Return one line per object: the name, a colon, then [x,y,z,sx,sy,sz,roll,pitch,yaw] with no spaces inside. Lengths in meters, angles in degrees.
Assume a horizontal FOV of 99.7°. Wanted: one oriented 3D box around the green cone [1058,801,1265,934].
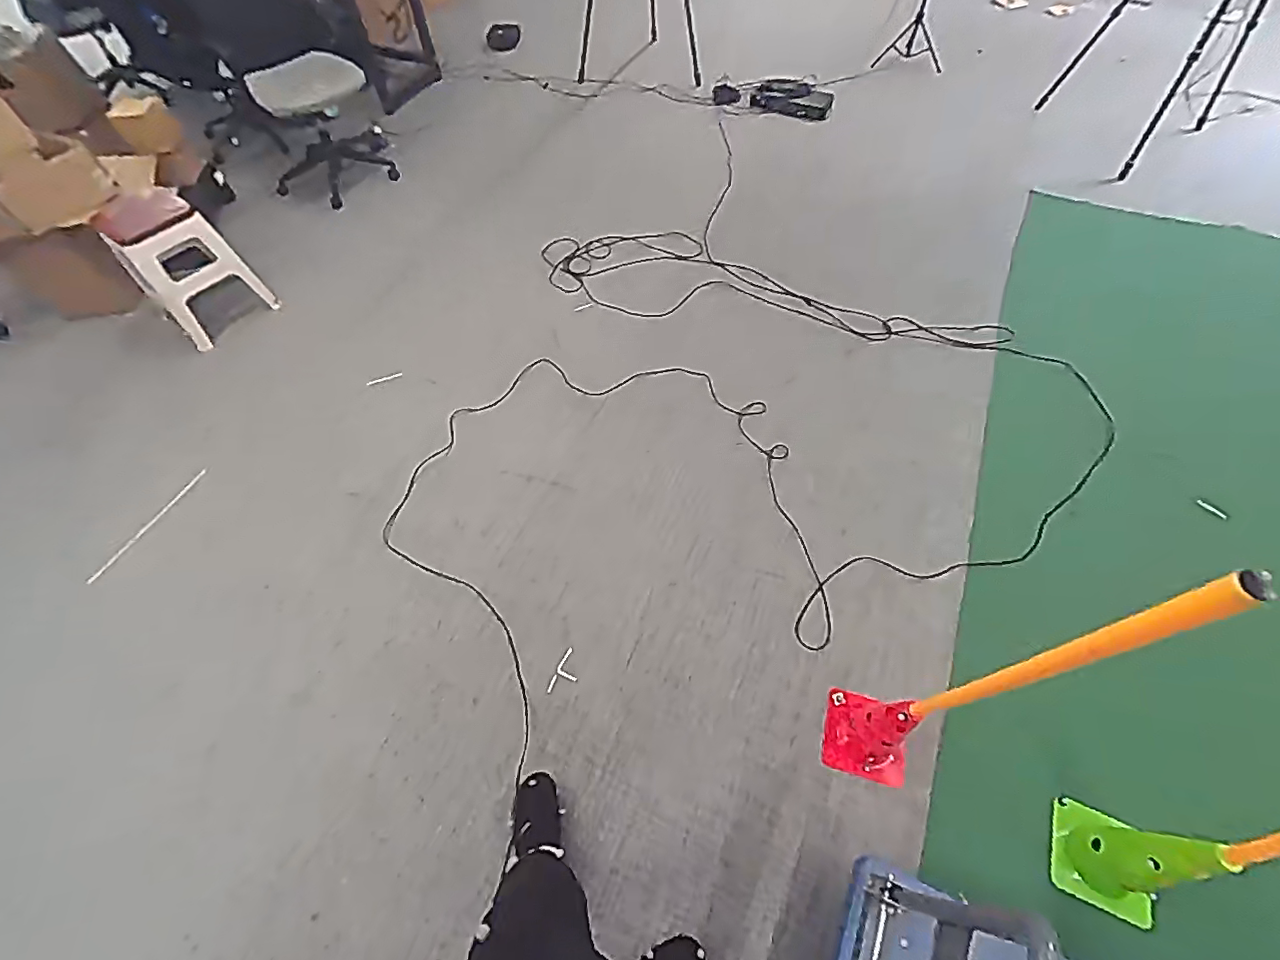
green cone: [1.055,0.774,1.083,0.202,0.368,0.200,21,59,14]
